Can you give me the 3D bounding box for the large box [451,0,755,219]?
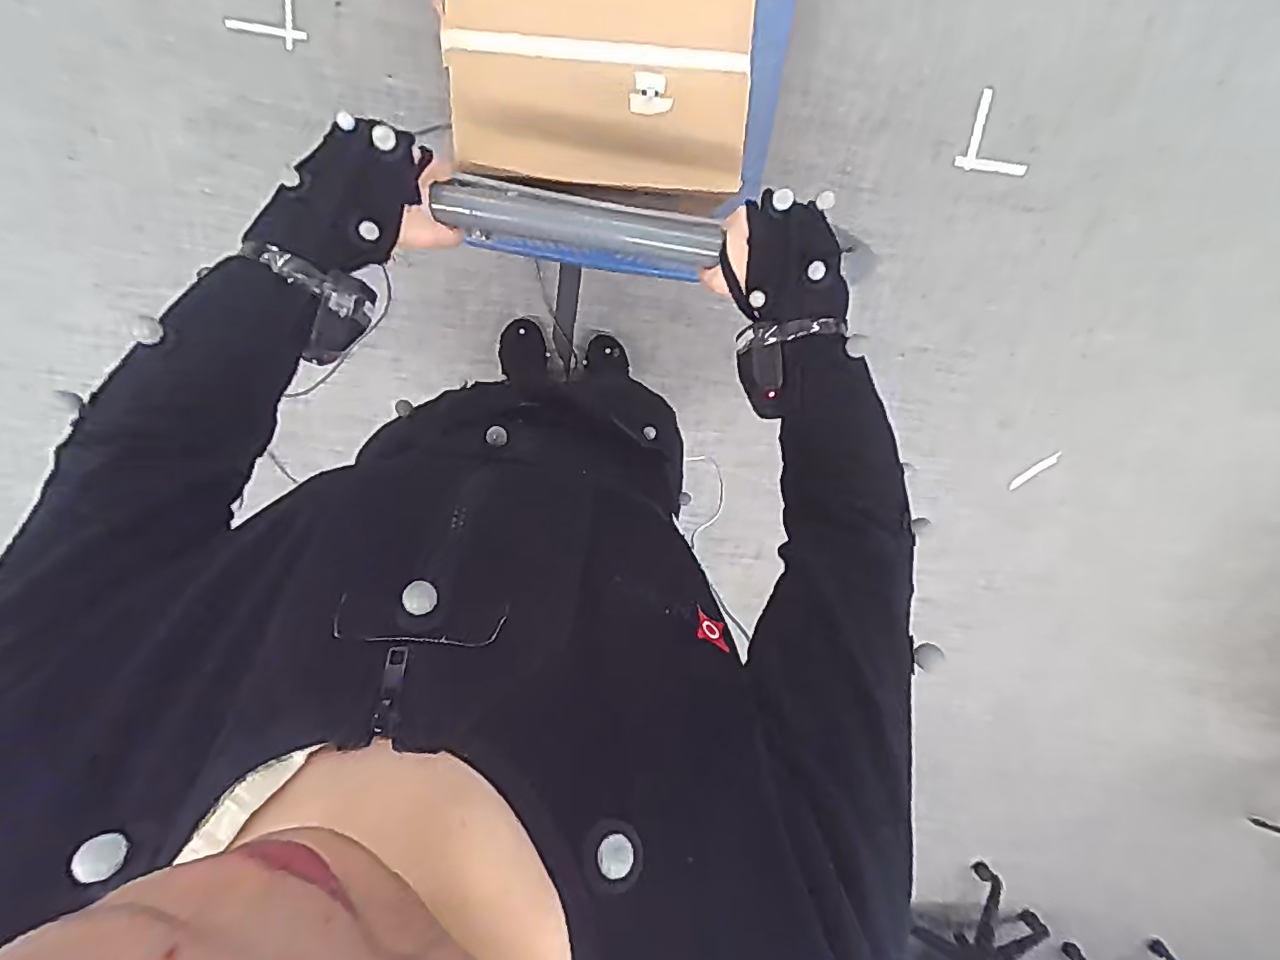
[{"bbox_3d":[-0.062,-0.614,0.863,0.408,0.320,0.320,0,109,-6],"label":"large box"}]
